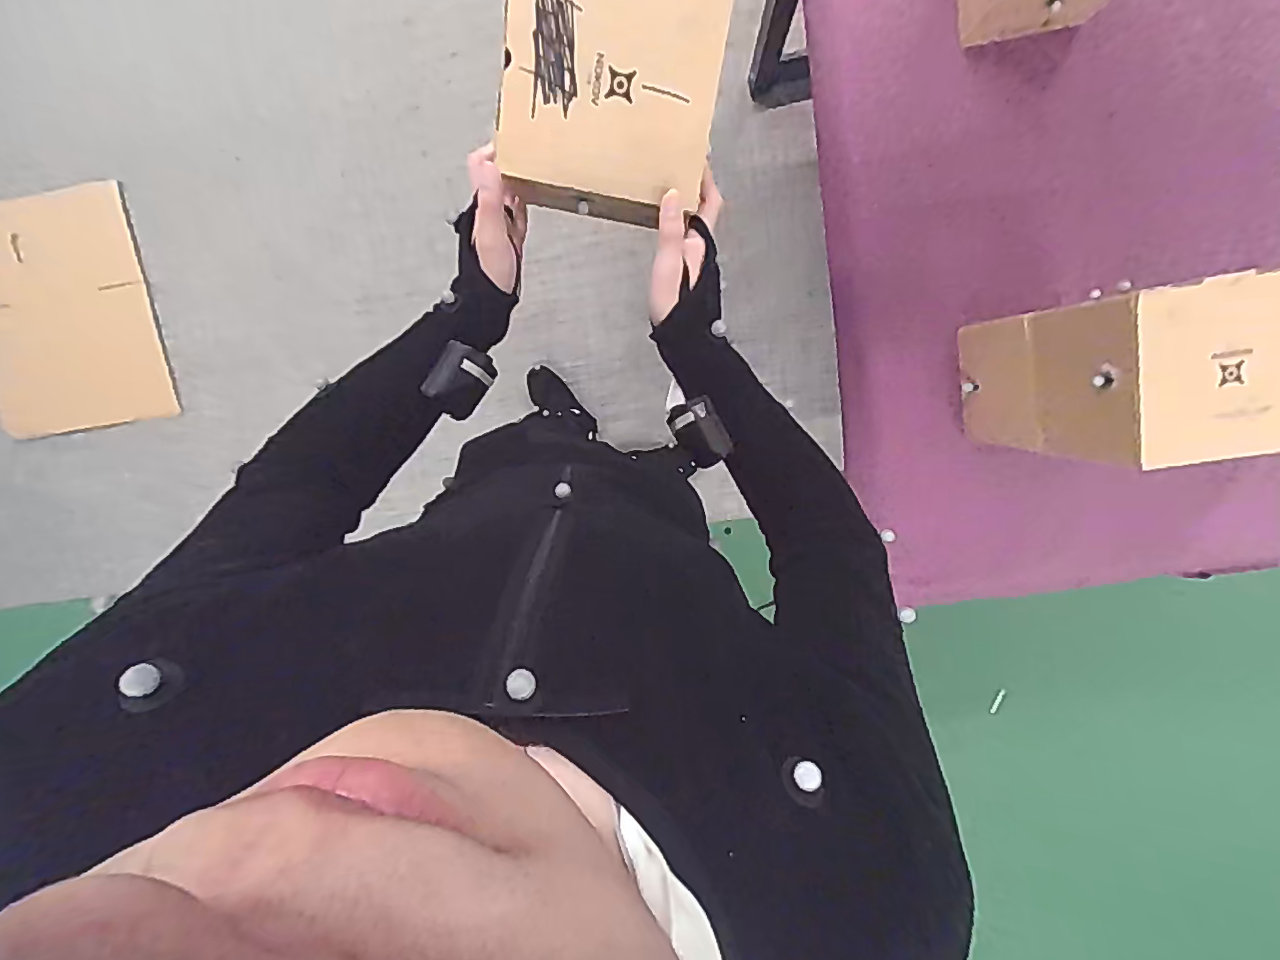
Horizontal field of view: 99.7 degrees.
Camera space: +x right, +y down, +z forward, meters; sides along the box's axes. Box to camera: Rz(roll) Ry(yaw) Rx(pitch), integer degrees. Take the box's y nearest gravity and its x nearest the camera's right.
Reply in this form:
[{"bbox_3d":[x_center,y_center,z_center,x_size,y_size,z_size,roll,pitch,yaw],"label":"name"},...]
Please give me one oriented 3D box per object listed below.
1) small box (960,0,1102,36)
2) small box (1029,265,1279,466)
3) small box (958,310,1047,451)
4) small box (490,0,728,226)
[{"bbox_3d":[0.518,-0.693,0.665,0.168,0.176,0.179,-8,100,5],"label":"small box"},{"bbox_3d":[0.564,-0.120,0.597,0.168,0.176,0.179,-8,99,6],"label":"small box"},{"bbox_3d":[0.574,-0.148,0.758,0.168,0.176,0.179,-9,100,5],"label":"small box"},{"bbox_3d":[-0.031,-0.349,0.514,0.179,0.176,0.168,8,109,-5],"label":"small box"}]
